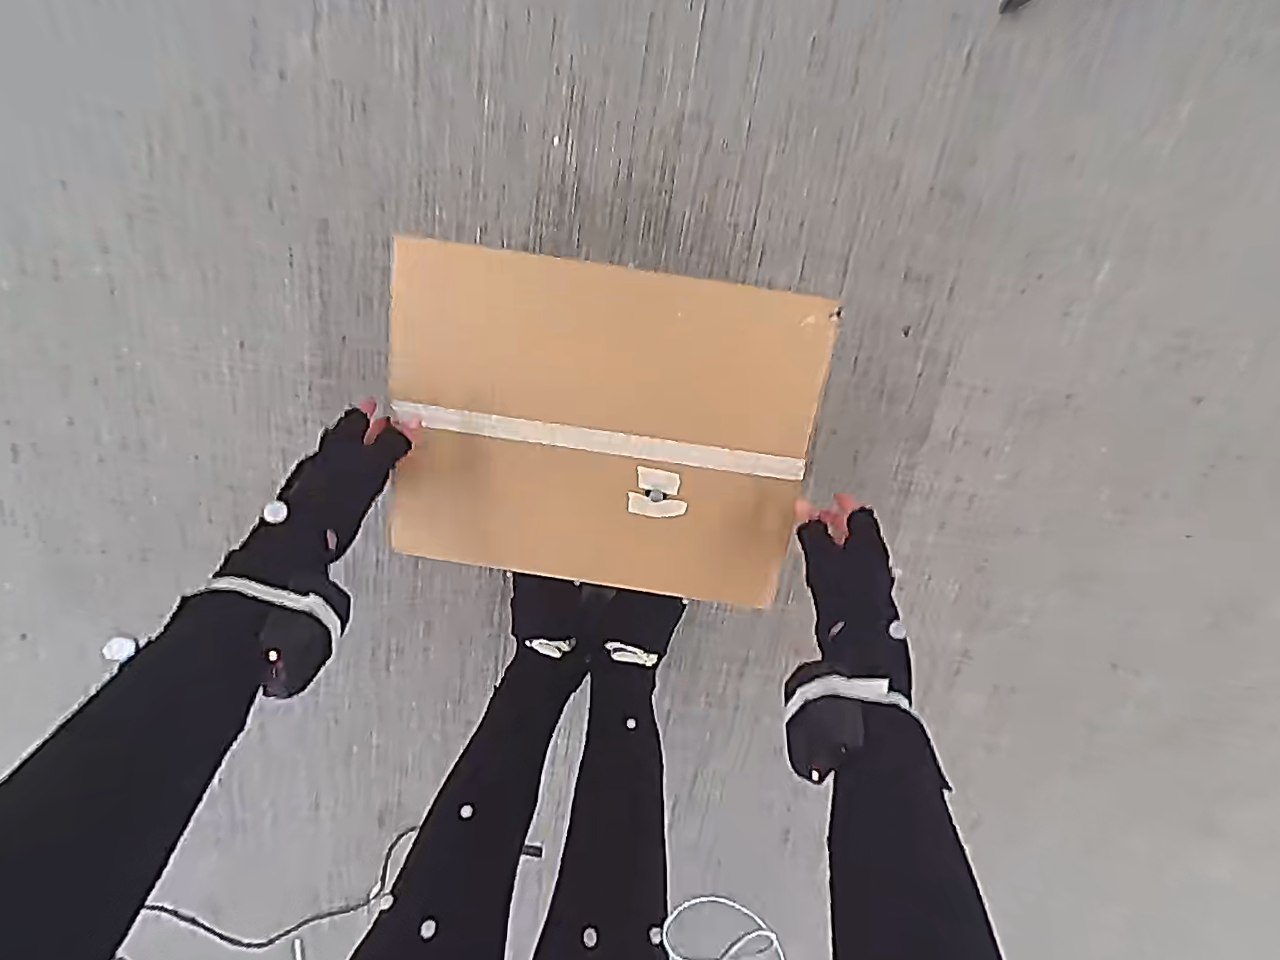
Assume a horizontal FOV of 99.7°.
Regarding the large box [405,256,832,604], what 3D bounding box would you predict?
[{"bbox_3d":[-0.032,-0.076,0.681,0.408,0.320,0.320,8,107,0],"label":"large box"}]
